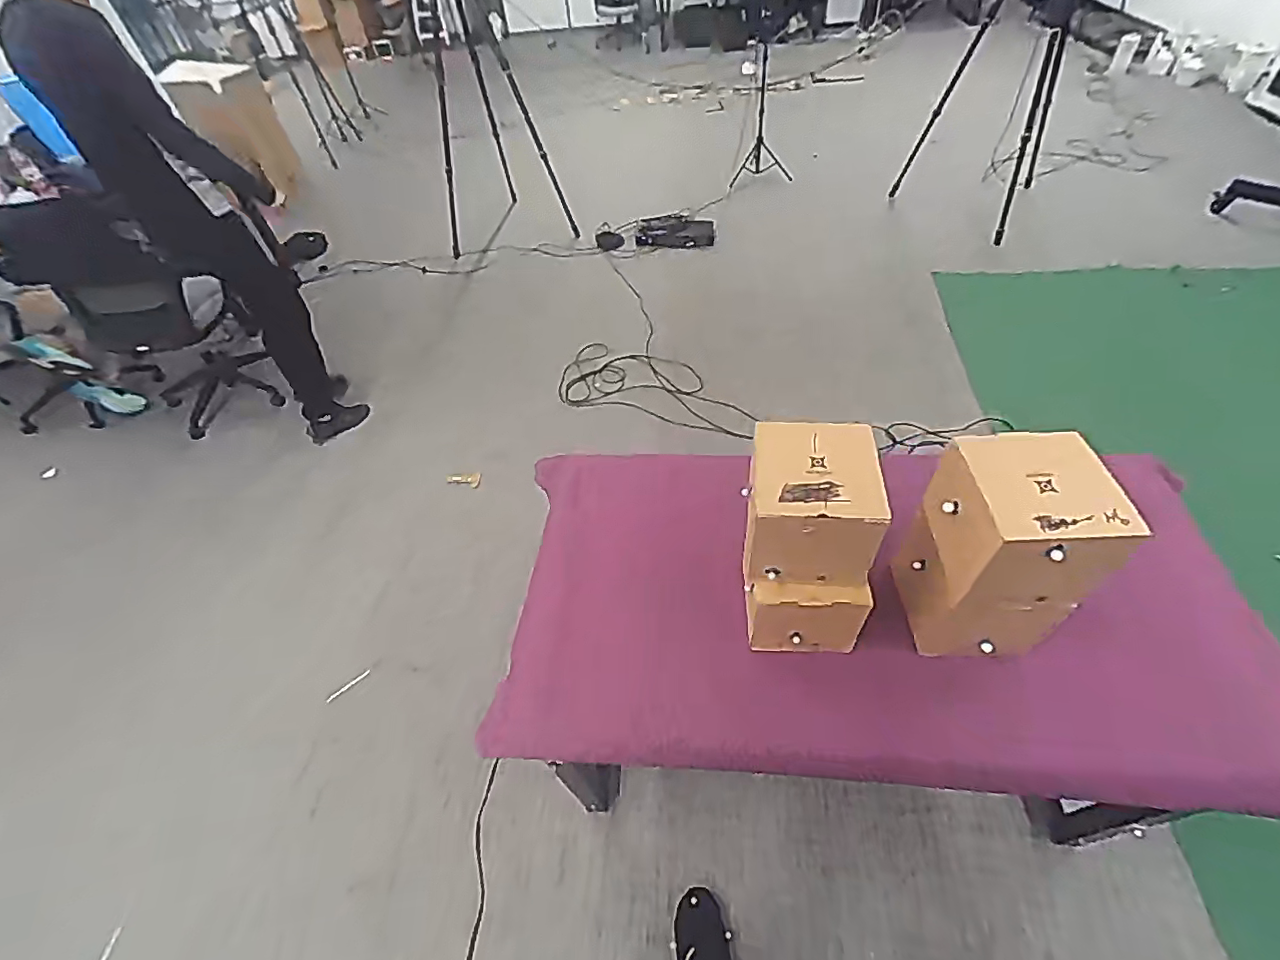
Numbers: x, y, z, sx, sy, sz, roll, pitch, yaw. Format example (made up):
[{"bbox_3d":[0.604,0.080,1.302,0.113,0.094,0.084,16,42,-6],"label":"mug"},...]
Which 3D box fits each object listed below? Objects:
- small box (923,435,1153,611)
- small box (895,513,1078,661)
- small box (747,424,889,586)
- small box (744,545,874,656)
[{"bbox_3d":[0.514,0.060,0.737,0.168,0.176,0.179,-3,48,5],"label":"small box"},{"bbox_3d":[0.527,0.168,0.859,0.168,0.176,0.179,-2,49,5],"label":"small box"},{"bbox_3d":[0.246,0.039,0.789,0.168,0.176,0.179,2,49,8],"label":"small box"},{"bbox_3d":[0.264,0.170,0.892,0.168,0.176,0.179,-1,50,6],"label":"small box"}]
